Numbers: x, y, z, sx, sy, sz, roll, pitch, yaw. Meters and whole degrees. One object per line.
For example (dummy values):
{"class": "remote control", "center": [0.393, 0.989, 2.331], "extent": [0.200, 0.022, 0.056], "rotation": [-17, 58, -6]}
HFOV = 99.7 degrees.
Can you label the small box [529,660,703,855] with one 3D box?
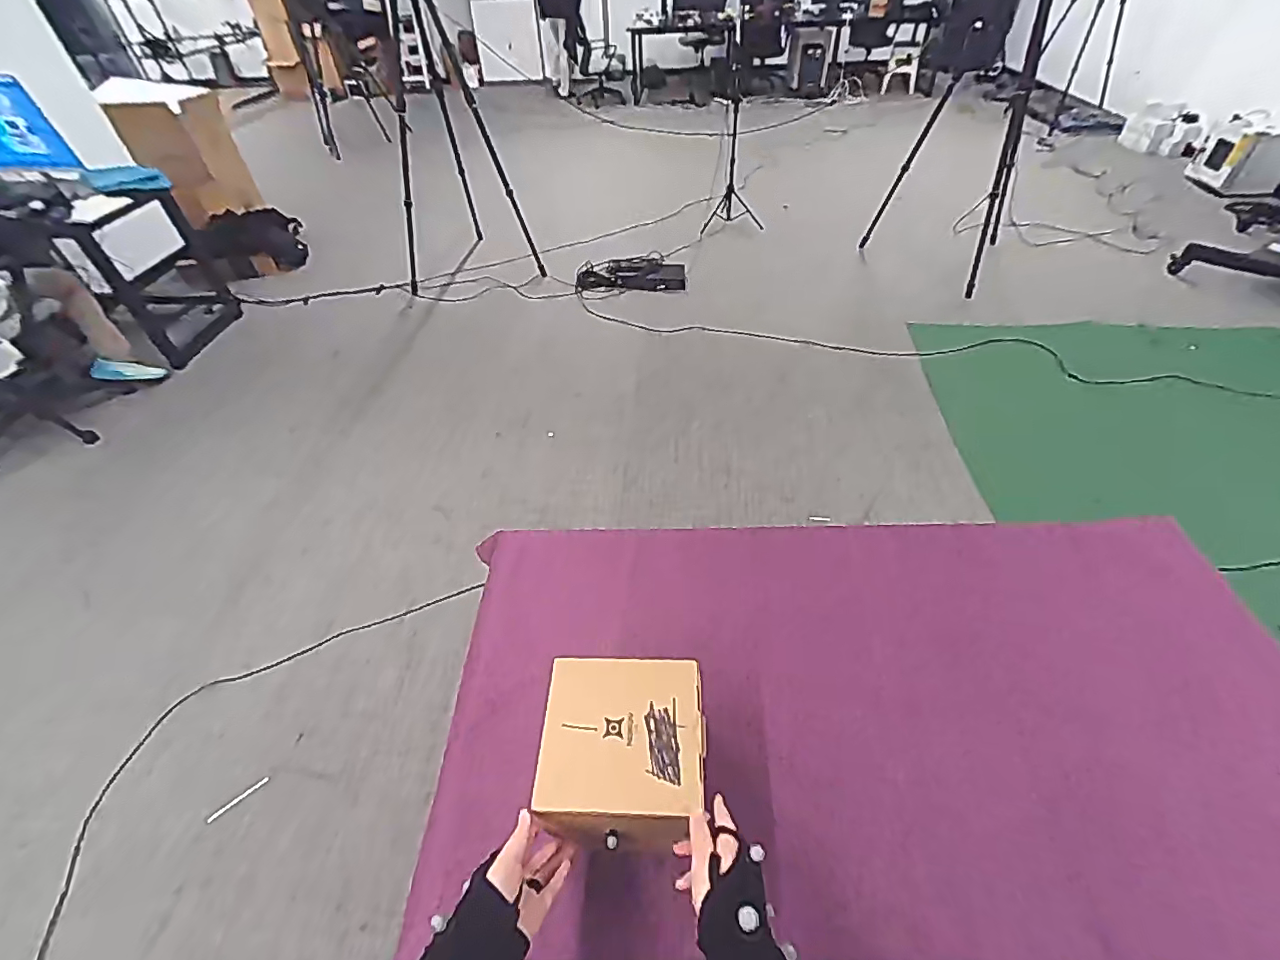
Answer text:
{"class": "small box", "center": [-0.018, 0.334, 0.650], "extent": [0.179, 0.176, 0.168], "rotation": [0, 45, 4]}
